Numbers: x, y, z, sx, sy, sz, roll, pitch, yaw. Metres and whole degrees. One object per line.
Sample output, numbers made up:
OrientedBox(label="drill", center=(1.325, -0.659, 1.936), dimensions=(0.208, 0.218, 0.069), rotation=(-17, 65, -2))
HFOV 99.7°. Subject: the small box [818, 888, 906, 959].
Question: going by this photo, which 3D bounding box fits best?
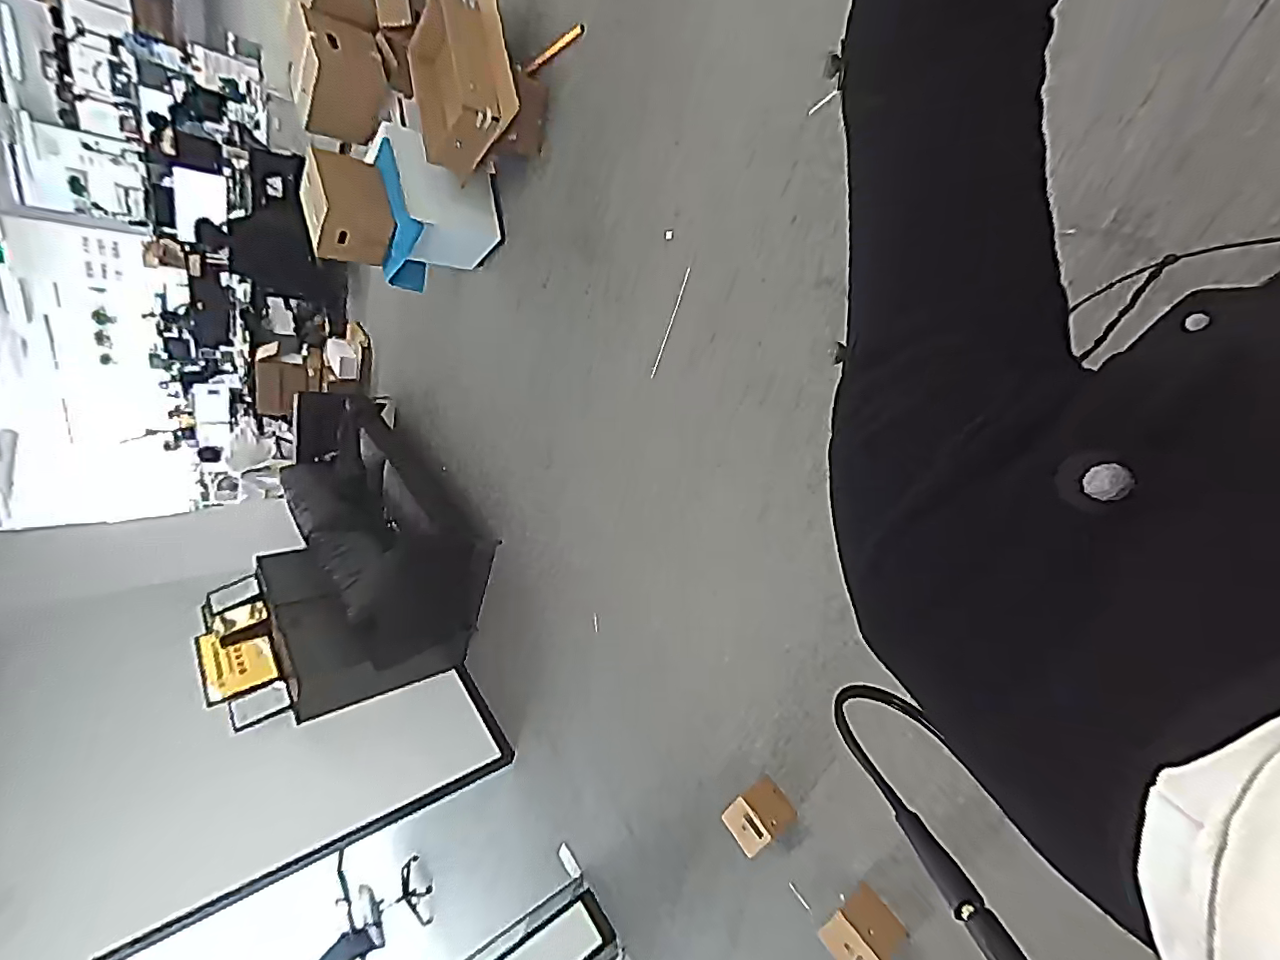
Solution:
OrientedBox(label="small box", center=(0.725, 1.491, 1.757), dimensions=(0.179, 0.176, 0.168), rotation=(42, 124, 36))
